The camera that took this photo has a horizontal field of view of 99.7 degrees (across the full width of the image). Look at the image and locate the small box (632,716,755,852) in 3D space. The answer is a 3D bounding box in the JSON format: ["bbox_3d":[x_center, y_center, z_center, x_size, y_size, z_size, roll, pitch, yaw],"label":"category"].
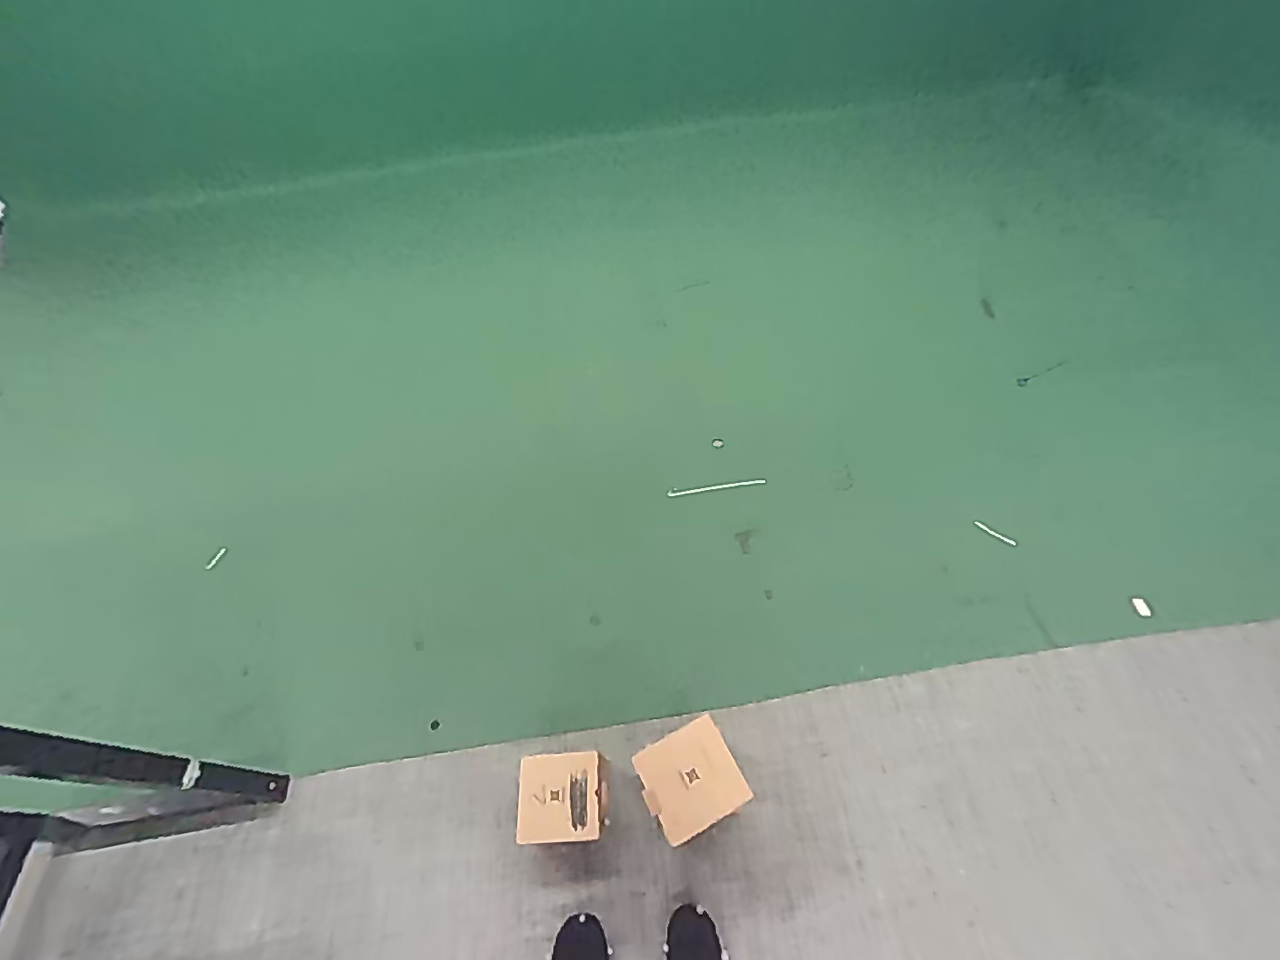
[{"bbox_3d":[0.101,0.595,1.056,0.179,0.176,0.168,-25,59,-13],"label":"small box"}]
